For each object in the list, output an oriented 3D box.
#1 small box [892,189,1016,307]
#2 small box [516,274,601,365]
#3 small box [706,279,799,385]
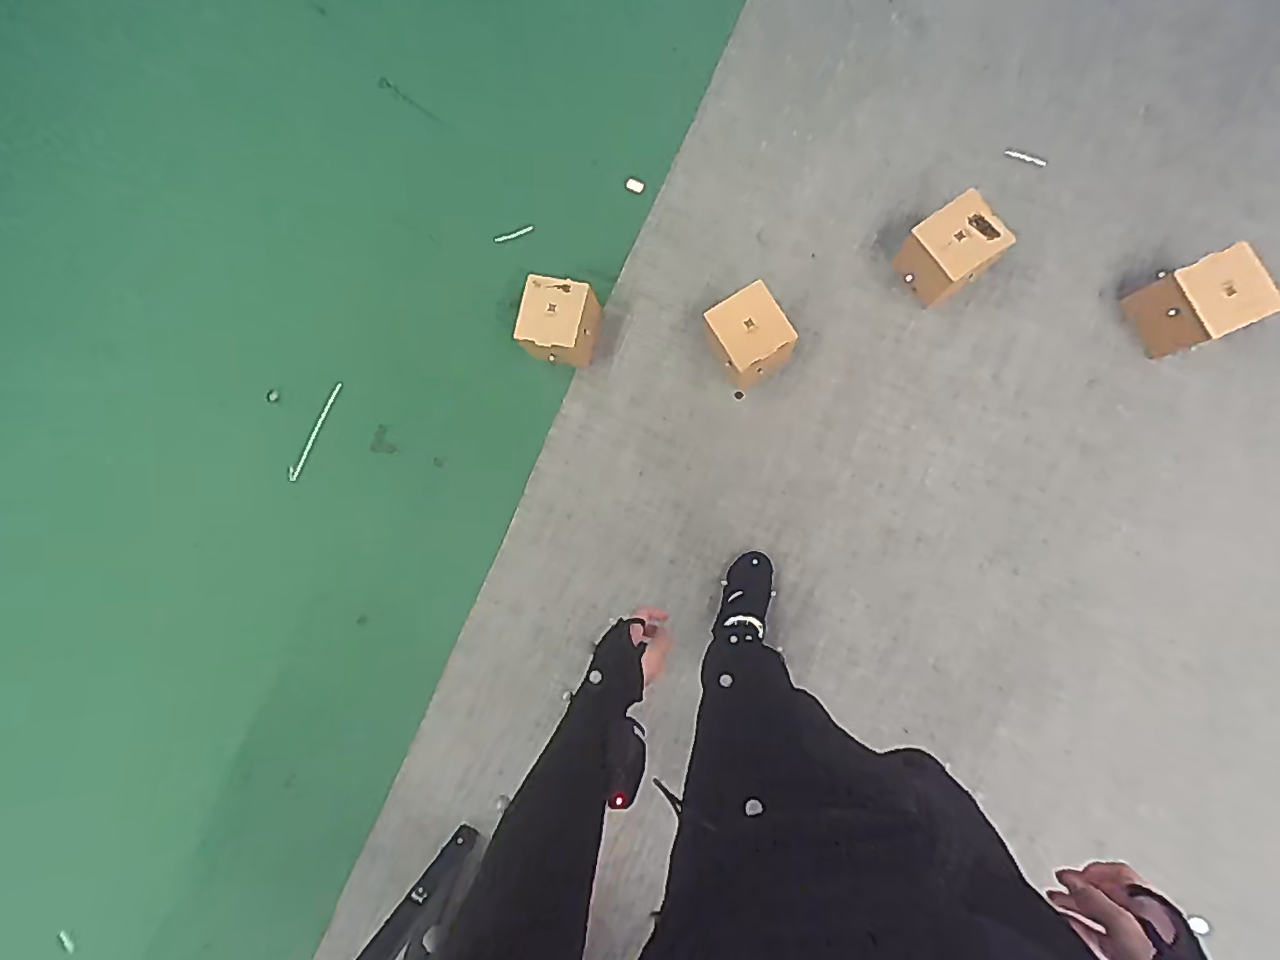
[{"bbox_3d":[0.772,-0.571,1.350,0.179,0.176,0.168,-34,82,3],"label":"small box"},{"bbox_3d":[-0.210,-0.423,1.452,0.168,0.176,0.179,13,87,8],"label":"small box"},{"bbox_3d":[0.279,-0.372,1.391,0.168,0.176,0.179,-31,83,3],"label":"small box"}]
